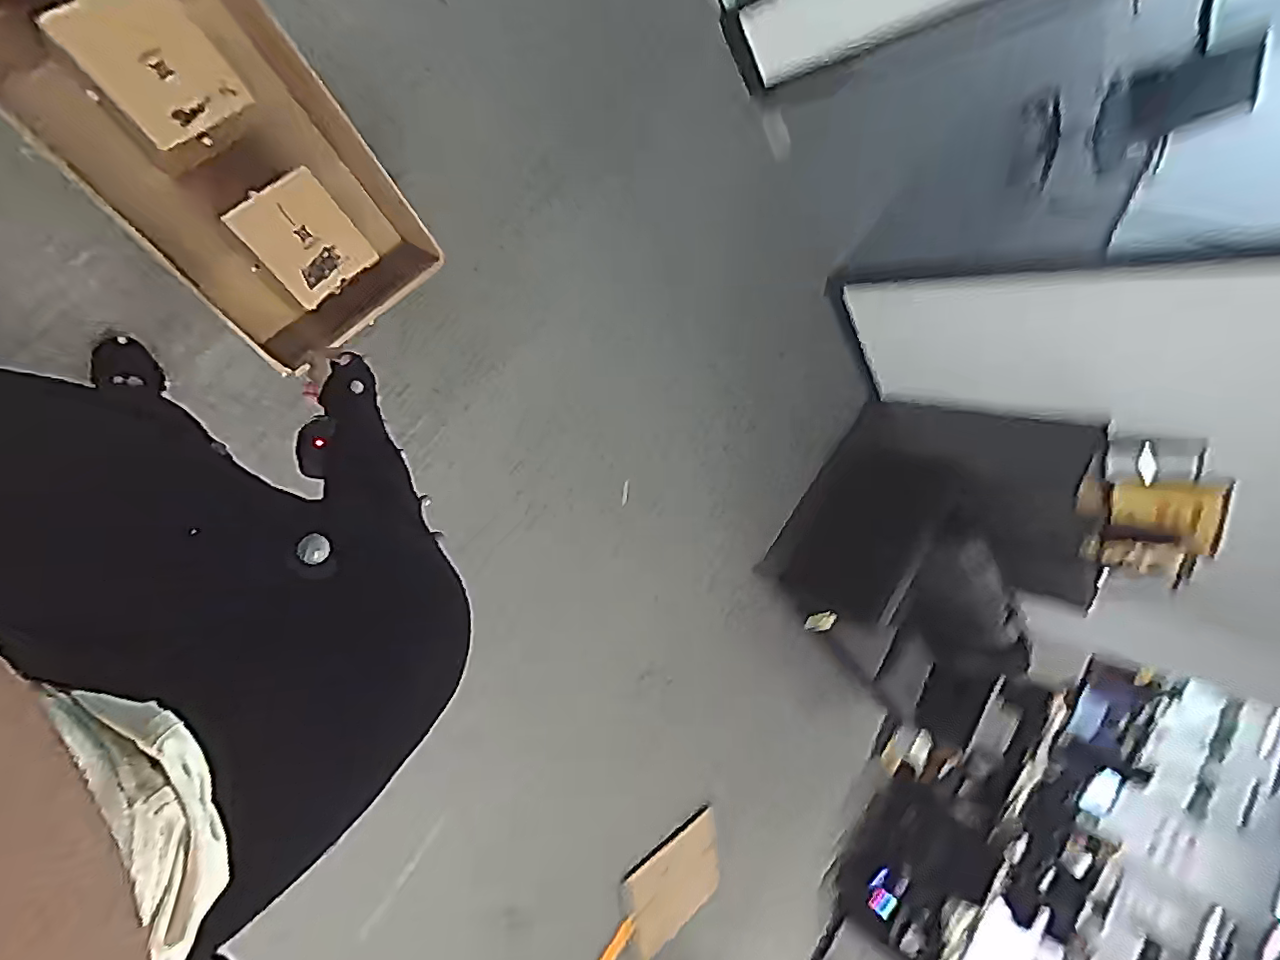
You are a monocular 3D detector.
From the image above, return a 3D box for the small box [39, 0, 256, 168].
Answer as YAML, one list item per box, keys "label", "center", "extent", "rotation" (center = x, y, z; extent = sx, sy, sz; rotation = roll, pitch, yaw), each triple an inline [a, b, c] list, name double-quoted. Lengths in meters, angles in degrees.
- label: "small box"
  center: [-0.743, -0.623, 0.836]
  extent: [0.168, 0.176, 0.179]
  rotation: [-48, 127, -20]
